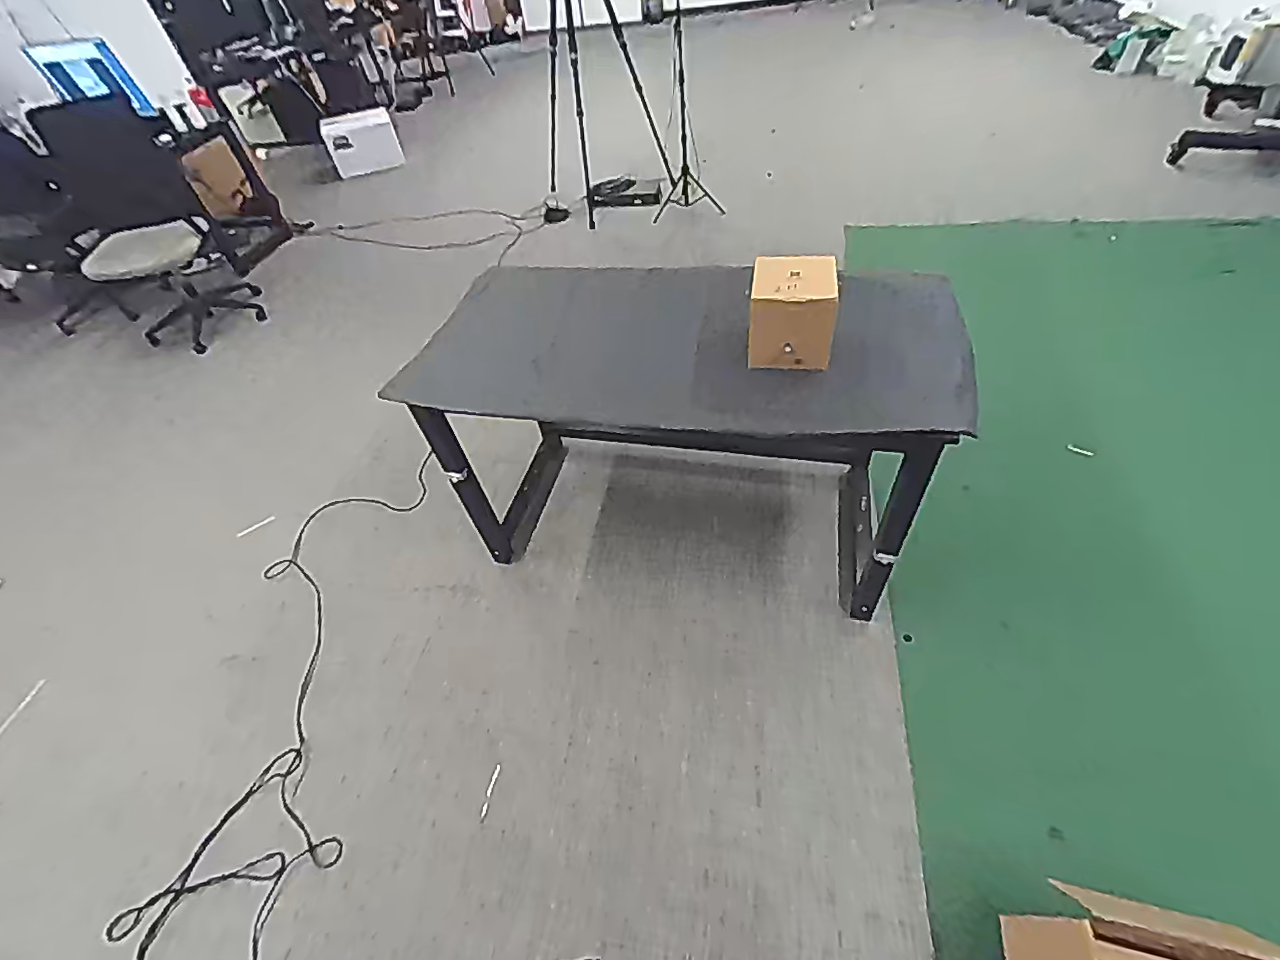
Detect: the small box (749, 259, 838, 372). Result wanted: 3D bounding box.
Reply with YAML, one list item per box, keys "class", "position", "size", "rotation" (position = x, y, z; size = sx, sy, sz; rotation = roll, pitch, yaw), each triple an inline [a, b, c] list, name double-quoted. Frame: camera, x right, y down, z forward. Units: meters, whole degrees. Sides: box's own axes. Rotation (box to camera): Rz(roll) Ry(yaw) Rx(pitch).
- class: "small box"
  position: [0.326, -0.354, 1.160]
  size: [0.168, 0.176, 0.179]
  rotation: [4, 49, 13]
